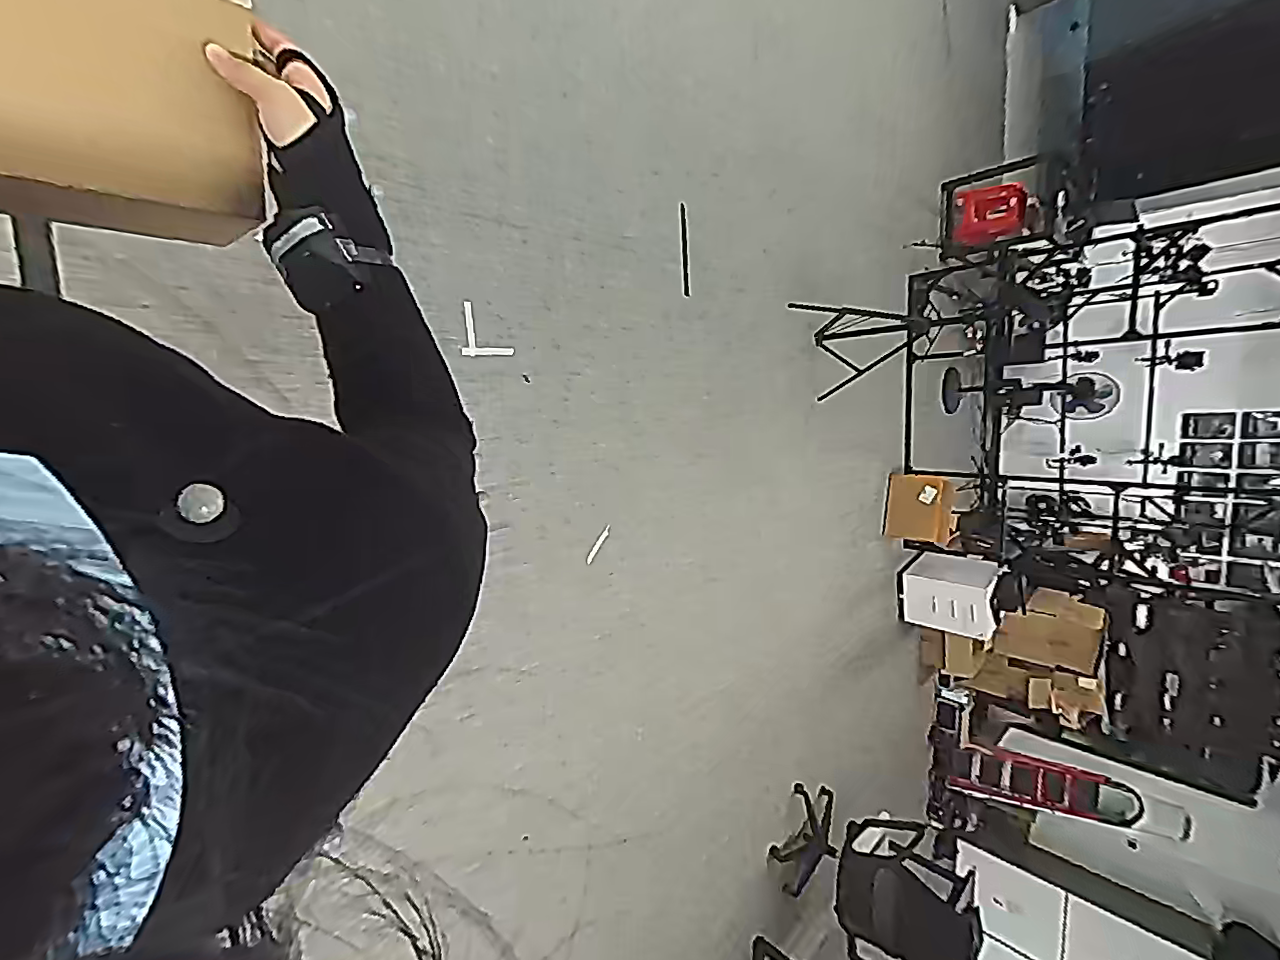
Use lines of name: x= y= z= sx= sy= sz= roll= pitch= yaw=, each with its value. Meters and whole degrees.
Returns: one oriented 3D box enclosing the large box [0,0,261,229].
large box: x=-0.551 y=-0.388 z=0.392 sx=0.408 sy=0.320 sz=0.320 roll=-8 pitch=109 yaw=-41
